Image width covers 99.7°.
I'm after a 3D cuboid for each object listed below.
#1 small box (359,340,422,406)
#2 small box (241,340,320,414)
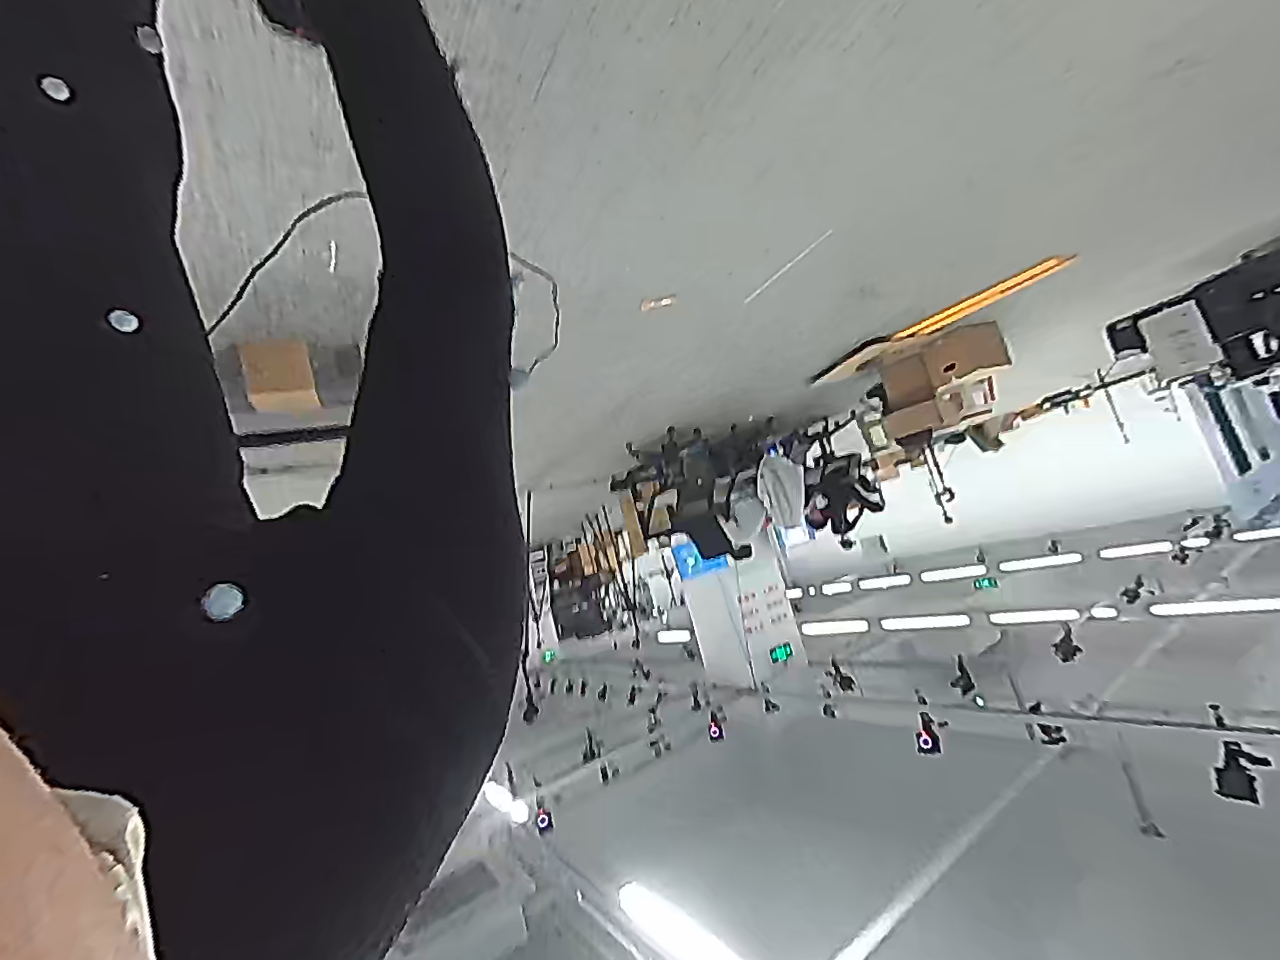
[{"bbox_3d":[-0.854,-0.371,1.854,0.168,0.176,0.179,-12,171,-25],"label":"small box"},{"bbox_3d":[-1.120,-0.323,1.687,0.179,0.176,0.168,-12,172,-27],"label":"small box"}]
